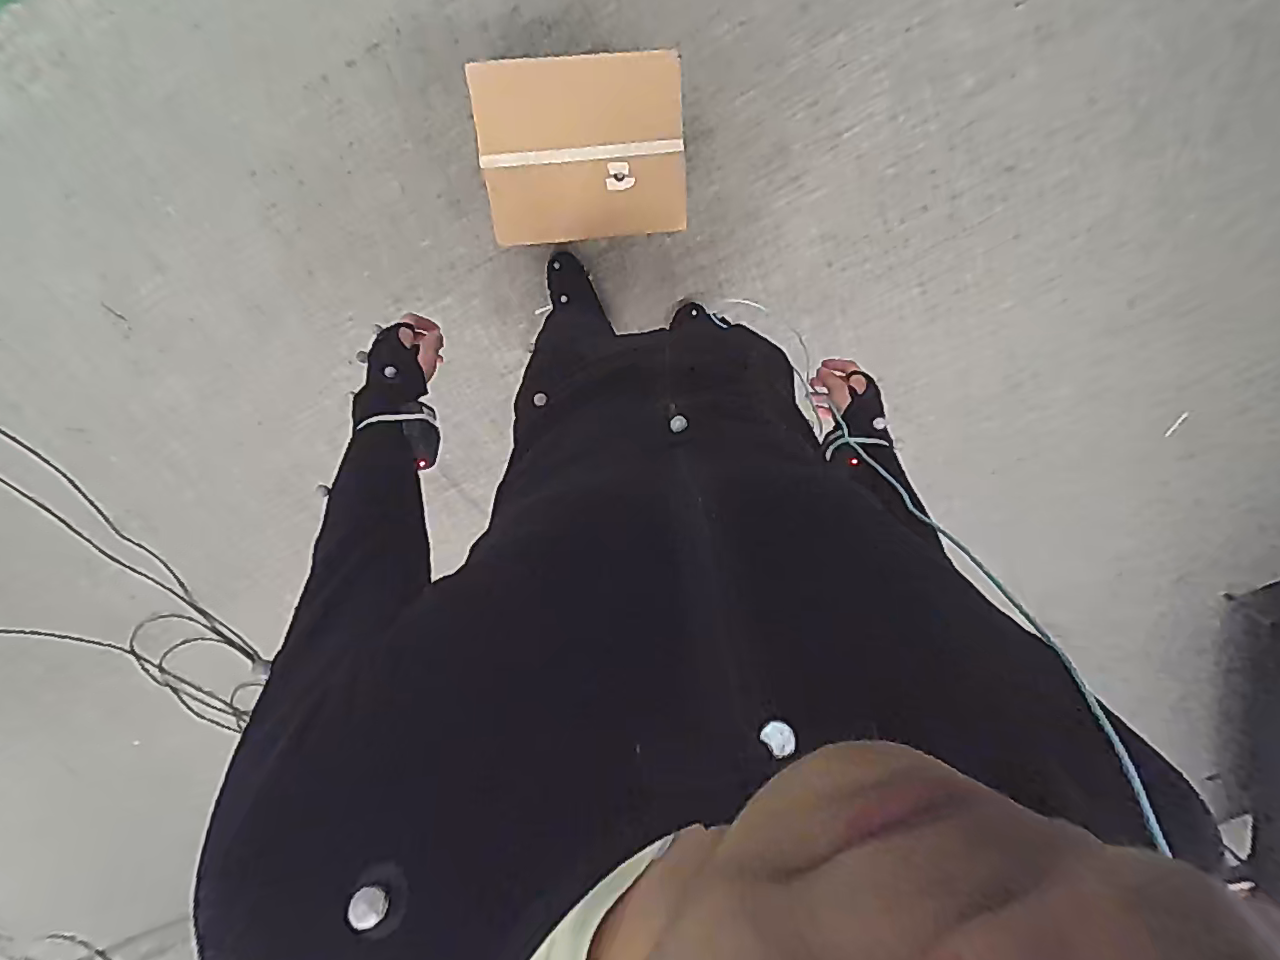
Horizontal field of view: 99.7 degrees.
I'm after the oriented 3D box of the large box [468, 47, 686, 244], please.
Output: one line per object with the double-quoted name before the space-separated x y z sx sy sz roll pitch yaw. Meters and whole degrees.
"large box" -0.129 -0.717 1.205 0.408 0.320 0.320 -7 117 -4
